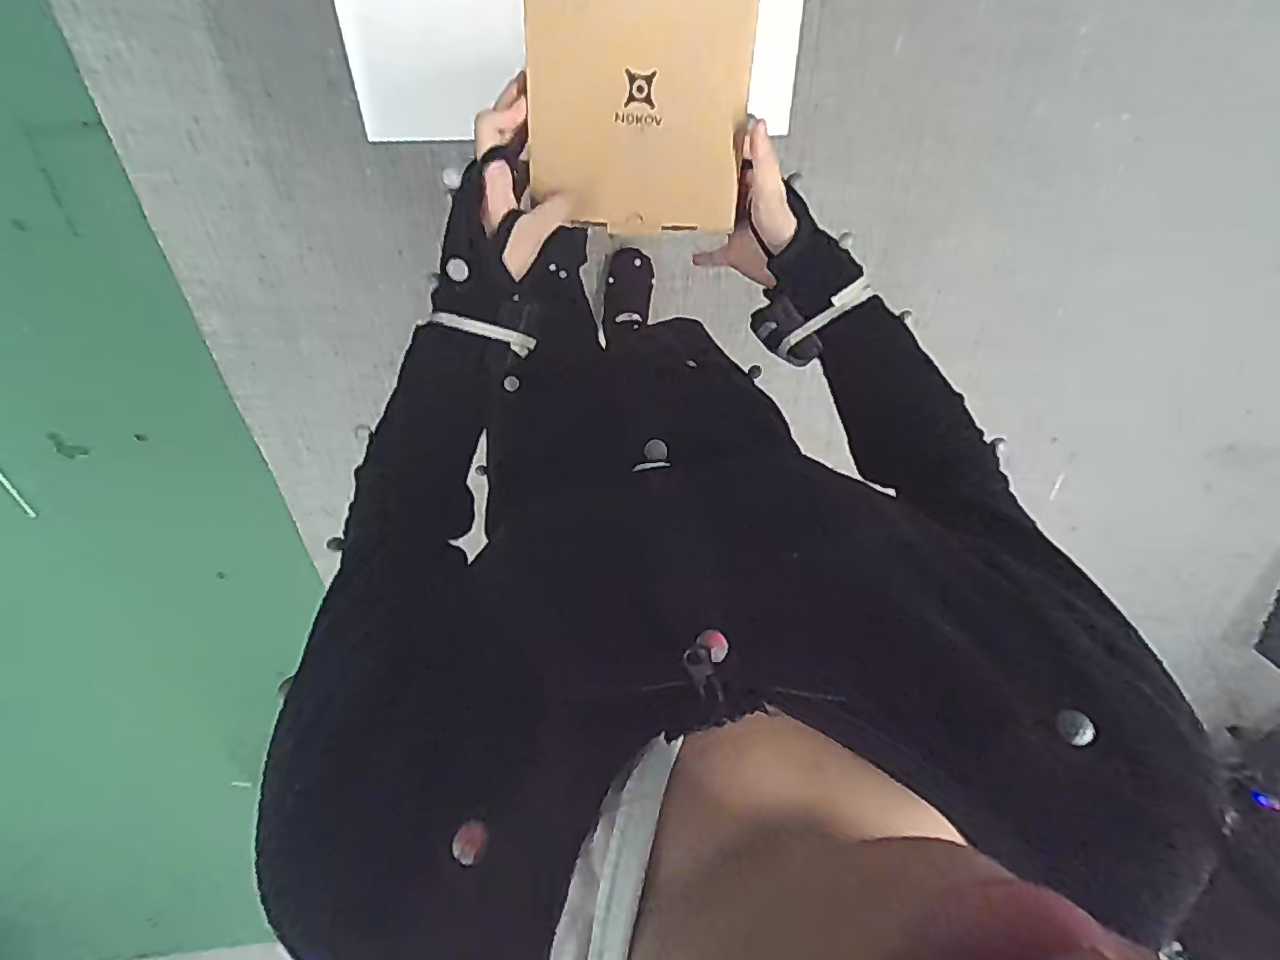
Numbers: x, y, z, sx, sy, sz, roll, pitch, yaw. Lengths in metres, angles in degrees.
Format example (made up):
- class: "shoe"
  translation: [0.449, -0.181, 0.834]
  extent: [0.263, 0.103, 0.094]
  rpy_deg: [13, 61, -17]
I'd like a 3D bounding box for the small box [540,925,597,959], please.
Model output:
- class: "small box"
  translation: [-0.214, 1.456, 1.604]
  extent: [0.168, 0.176, 0.179]
  rpy_deg: [1, 123, -9]
